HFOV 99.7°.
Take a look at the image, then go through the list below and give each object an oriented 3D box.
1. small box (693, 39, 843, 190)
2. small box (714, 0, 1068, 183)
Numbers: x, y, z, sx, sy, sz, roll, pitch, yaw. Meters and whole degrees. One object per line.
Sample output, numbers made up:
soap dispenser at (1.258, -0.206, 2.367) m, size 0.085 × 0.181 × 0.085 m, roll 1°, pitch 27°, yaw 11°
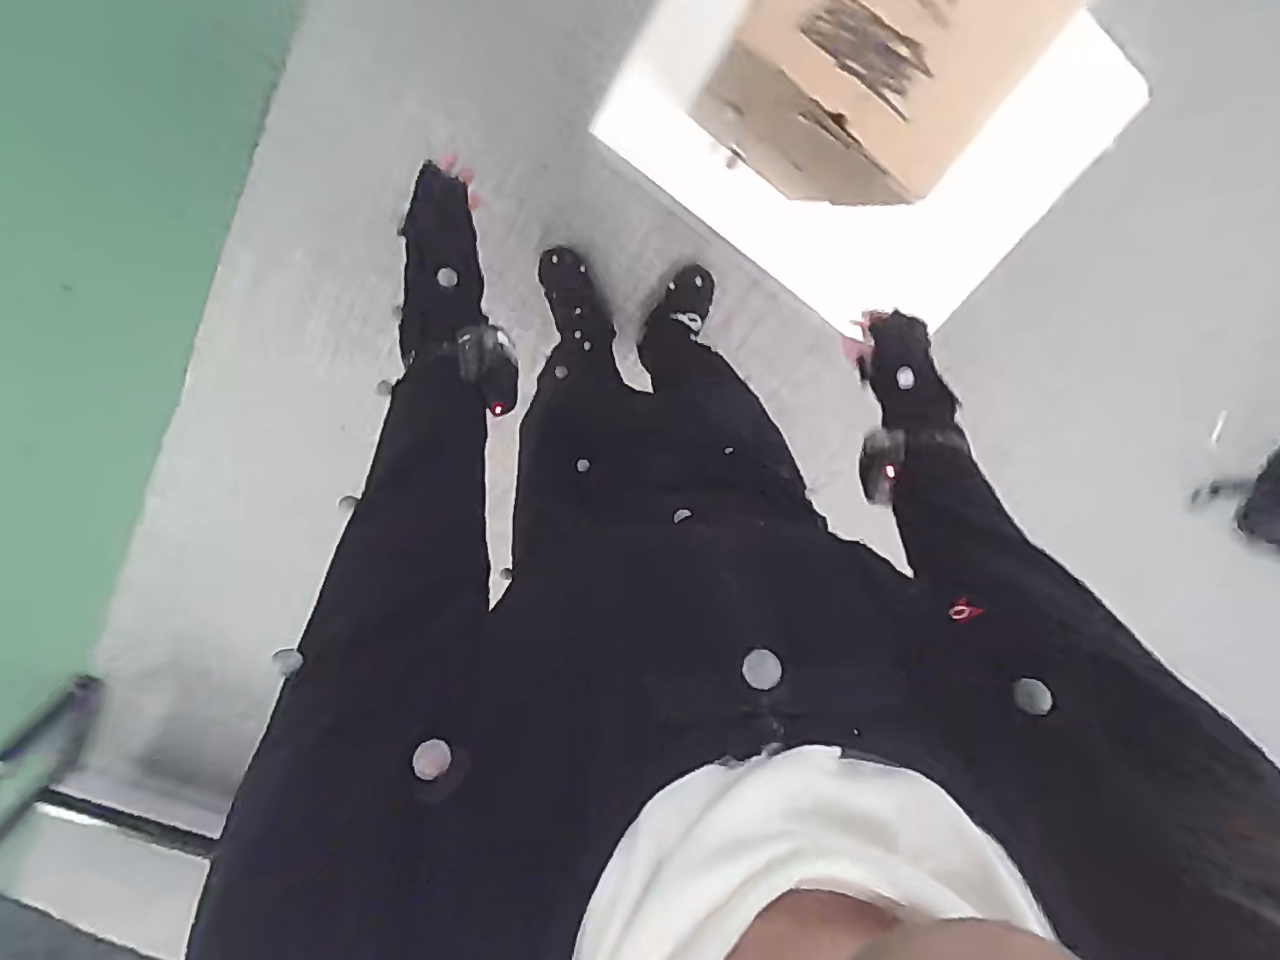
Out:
small box at (0.165, -0.411, 0.521) m, size 0.168 × 0.176 × 0.179 m, roll 31°, pitch 114°, yaw -16°
small box at (0.169, -0.343, 0.389) m, size 0.168 × 0.176 × 0.179 m, roll 34°, pitch 111°, yaw -17°
